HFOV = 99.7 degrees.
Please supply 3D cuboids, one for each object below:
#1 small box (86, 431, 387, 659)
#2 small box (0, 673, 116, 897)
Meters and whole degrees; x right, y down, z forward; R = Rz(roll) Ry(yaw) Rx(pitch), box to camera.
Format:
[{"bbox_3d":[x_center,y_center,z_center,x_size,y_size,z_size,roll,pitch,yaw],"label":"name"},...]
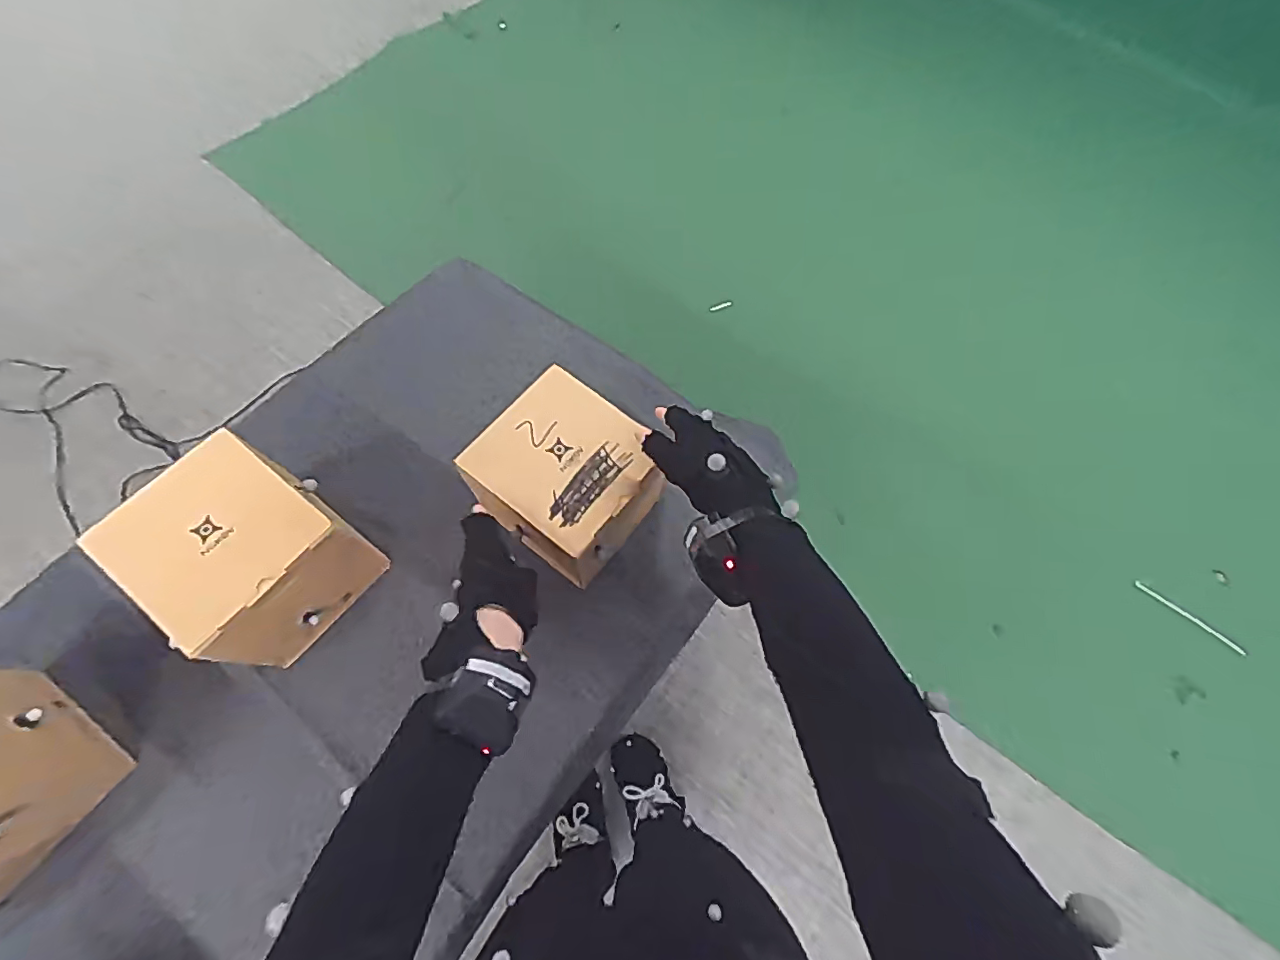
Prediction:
[{"bbox_3d":[-0.428,0.083,0.609,0.179,0.176,0.168,38,69,9],"label":"small box"},{"bbox_3d":[-0.654,0.294,0.498,0.168,0.176,0.179,36,70,9],"label":"small box"}]
